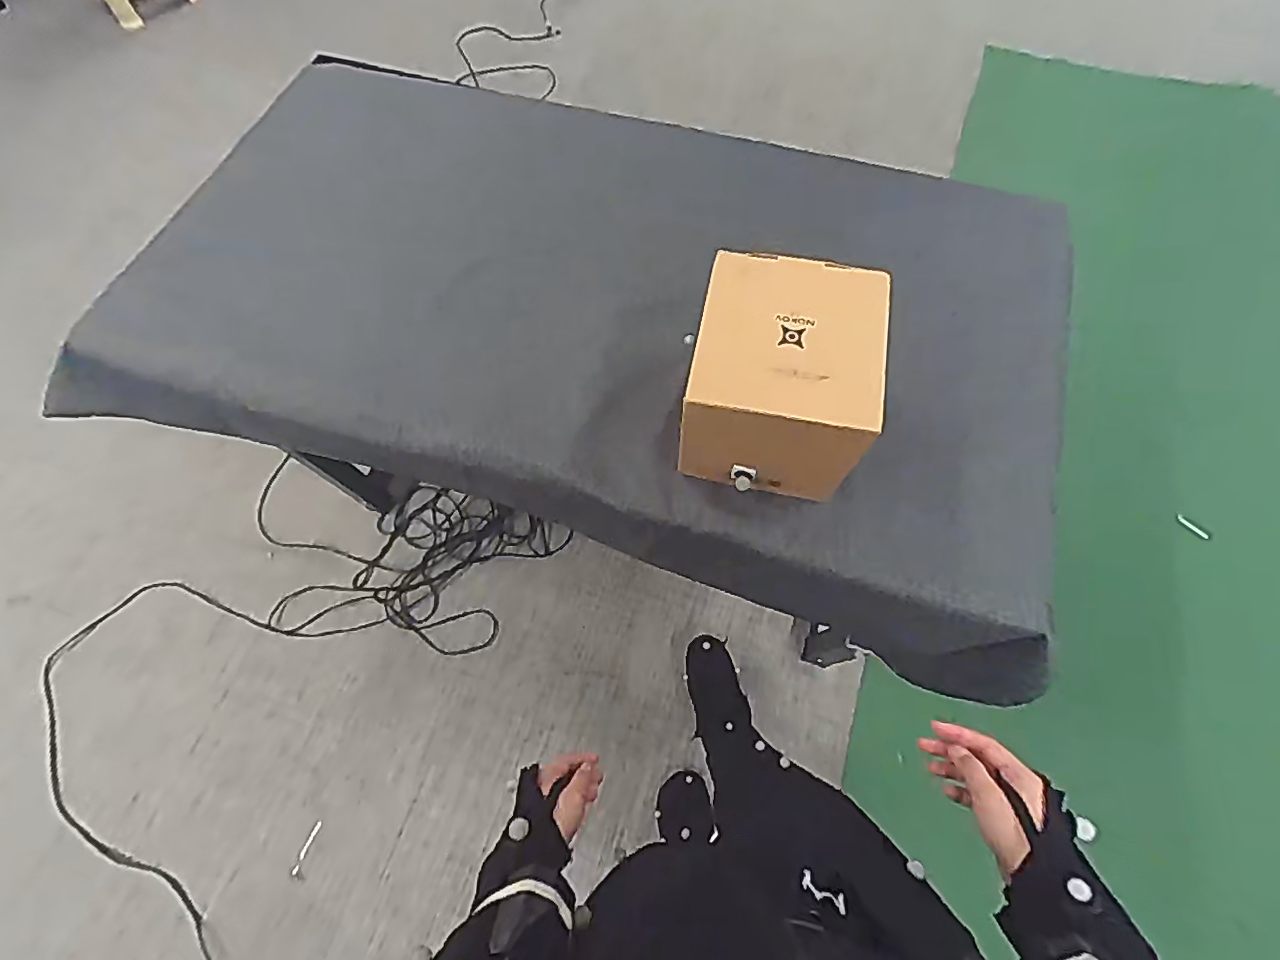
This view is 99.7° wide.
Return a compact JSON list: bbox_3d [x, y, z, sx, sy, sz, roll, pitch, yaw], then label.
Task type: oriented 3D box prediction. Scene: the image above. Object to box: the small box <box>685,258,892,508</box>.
[{"bbox_3d":[0.140,-0.091,0.554,0.168,0.176,0.179,10,68,7],"label":"small box"}]
